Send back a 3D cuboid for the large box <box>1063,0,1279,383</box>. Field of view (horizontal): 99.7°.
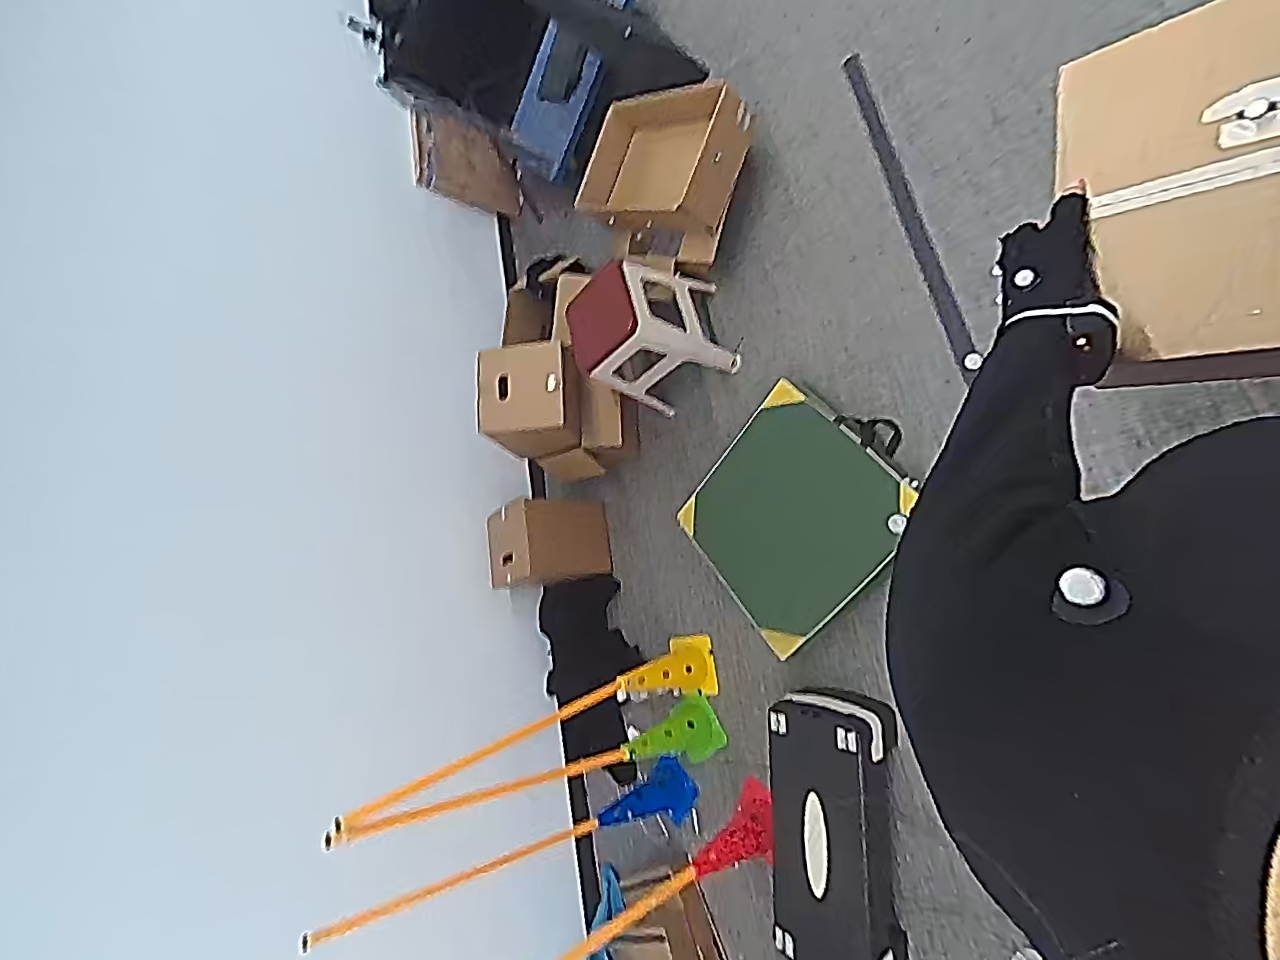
[{"bbox_3d":[0.693,-0.276,0.522,0.408,0.320,0.320,3,94,47],"label":"large box"}]
